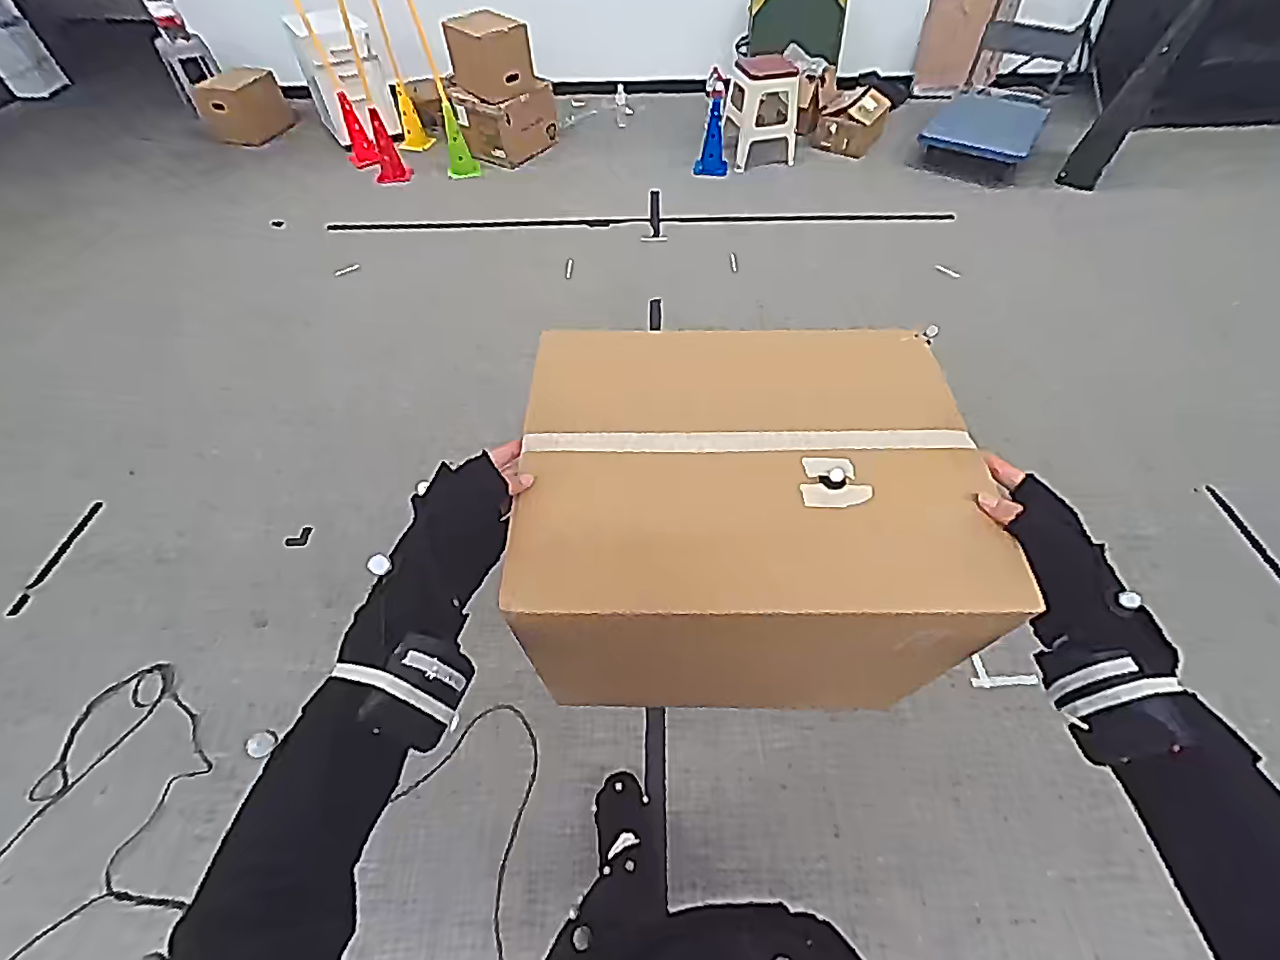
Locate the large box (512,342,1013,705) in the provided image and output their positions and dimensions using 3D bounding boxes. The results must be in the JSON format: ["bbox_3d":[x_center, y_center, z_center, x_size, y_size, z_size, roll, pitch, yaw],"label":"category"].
[{"bbox_3d":[0.093,0.061,0.627,0.408,0.320,0.320,0,55,0],"label":"large box"}]
